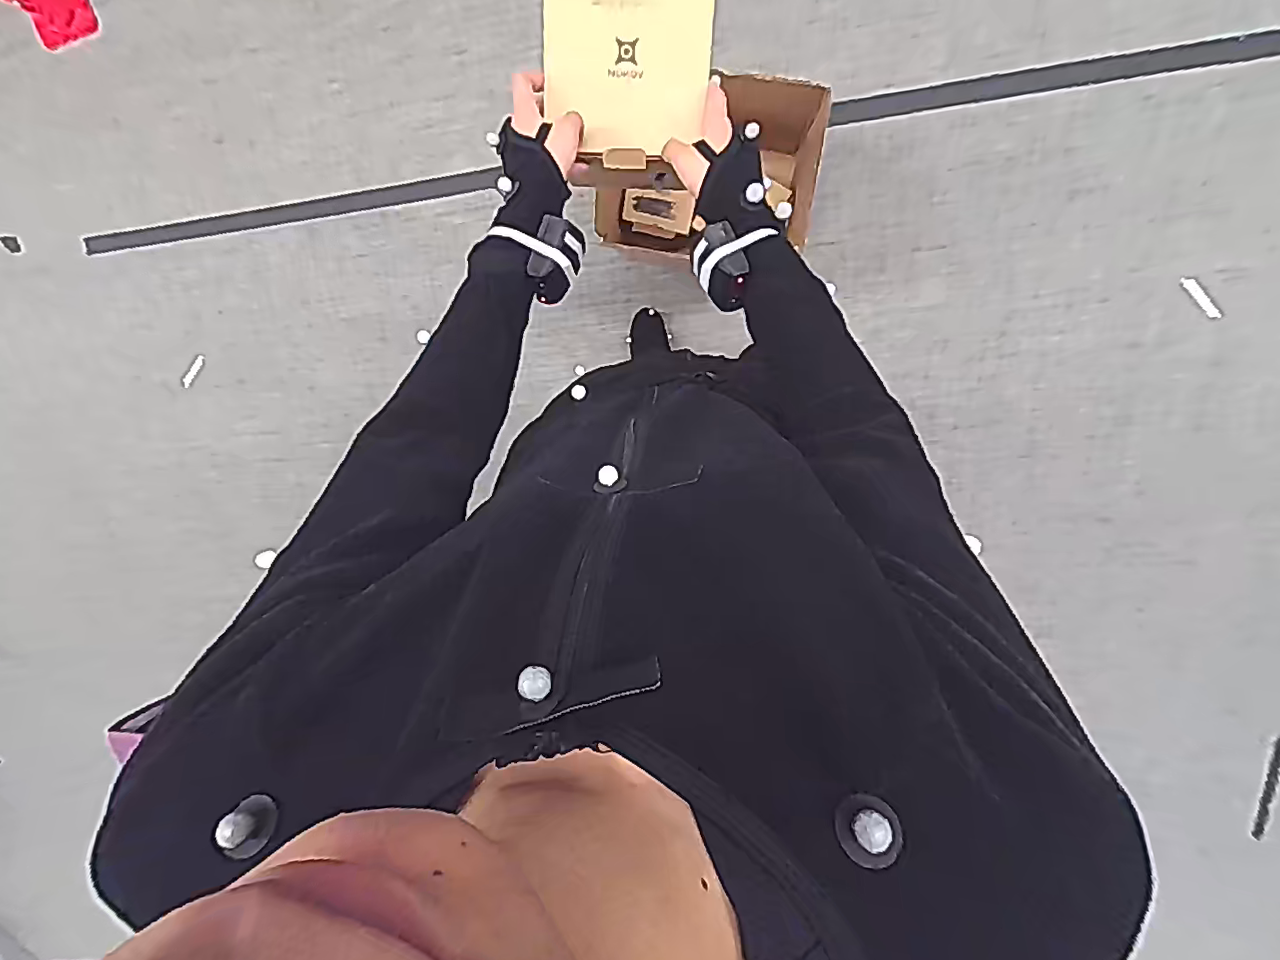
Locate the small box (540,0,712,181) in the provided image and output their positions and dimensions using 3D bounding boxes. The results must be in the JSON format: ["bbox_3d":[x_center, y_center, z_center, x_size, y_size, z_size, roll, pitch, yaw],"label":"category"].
[{"bbox_3d":[-0.012,-0.445,0.600,0.168,0.176,0.179,4,109,1],"label":"small box"}]
